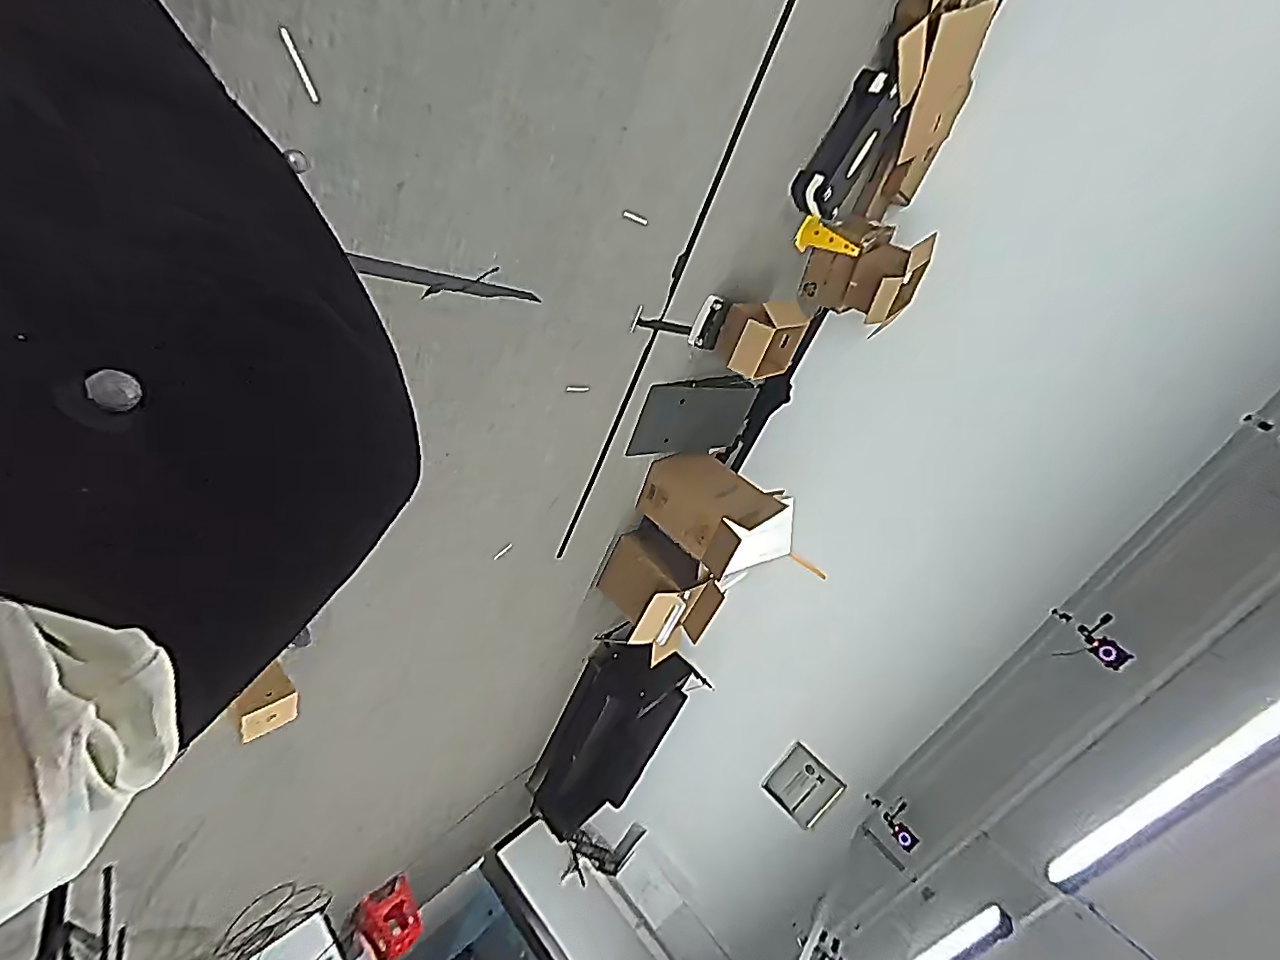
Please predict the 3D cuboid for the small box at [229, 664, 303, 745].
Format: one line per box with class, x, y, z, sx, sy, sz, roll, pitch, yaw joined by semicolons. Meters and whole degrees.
small box;-1.354;0.806;1.959;0.179;0.176;0.168;-19;139;-49
